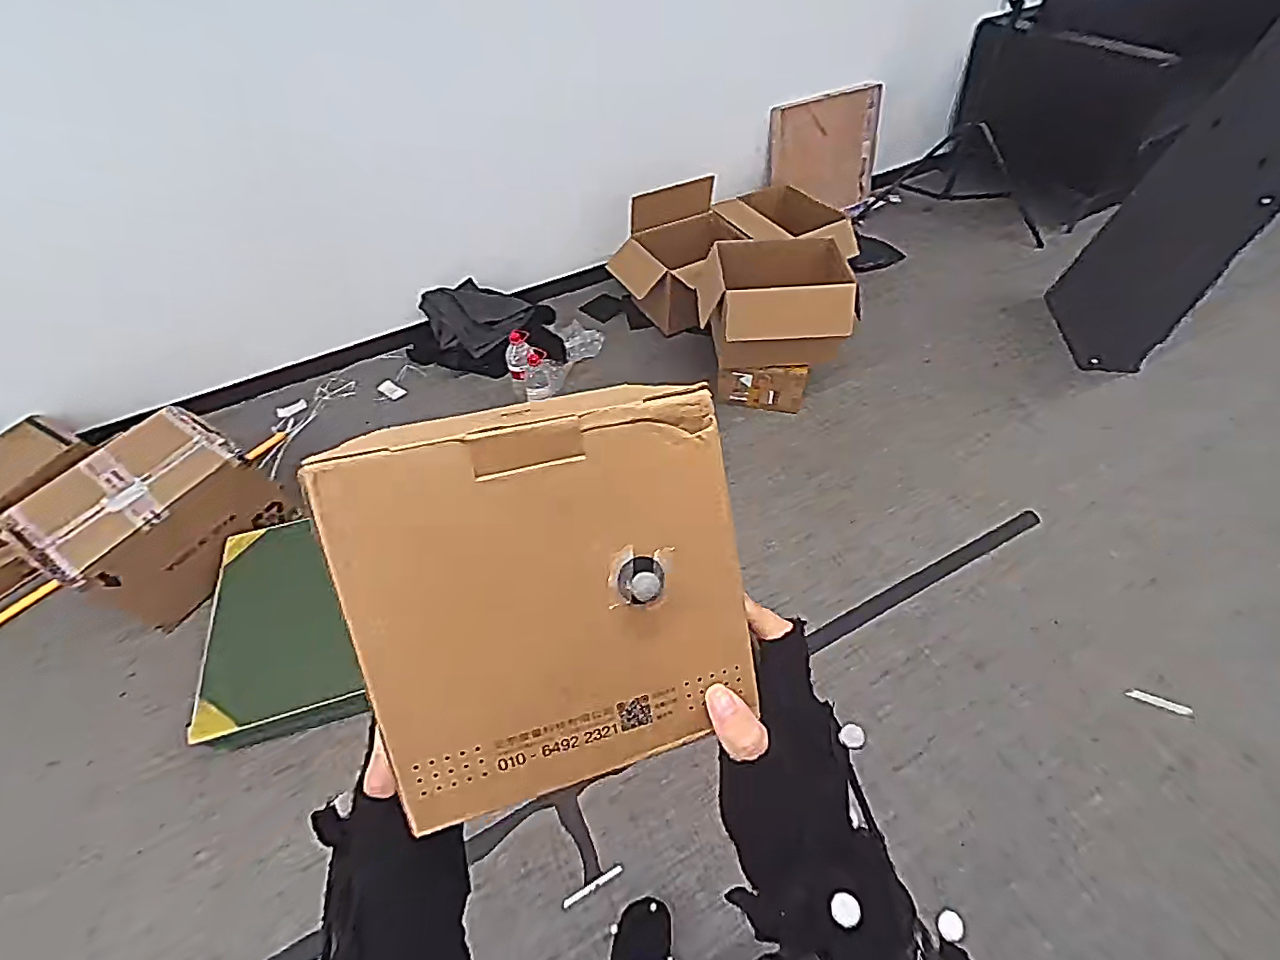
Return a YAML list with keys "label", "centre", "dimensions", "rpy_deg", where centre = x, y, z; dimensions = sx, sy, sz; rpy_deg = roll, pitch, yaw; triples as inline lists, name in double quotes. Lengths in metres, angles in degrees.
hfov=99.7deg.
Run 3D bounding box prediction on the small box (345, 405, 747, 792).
- label: "small box"
  centre: [-0.048, 0.055, 0.331]
  dimensions: [0.168, 0.176, 0.179]
  rpy_deg: [-12, 11, -11]
